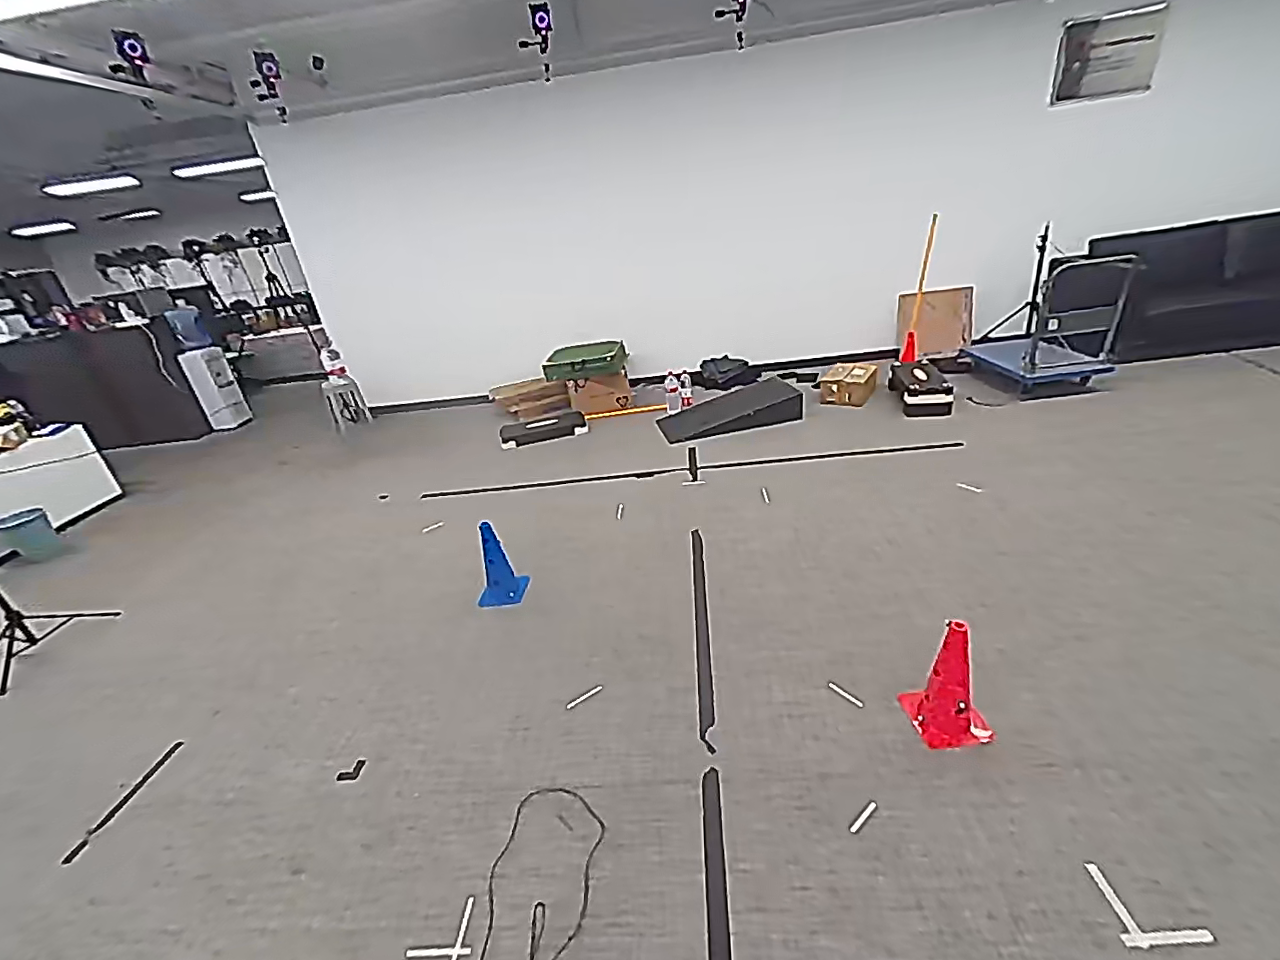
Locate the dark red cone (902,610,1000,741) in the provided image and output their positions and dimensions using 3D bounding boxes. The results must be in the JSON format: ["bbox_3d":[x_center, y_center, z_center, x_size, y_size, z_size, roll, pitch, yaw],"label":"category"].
[{"bbox_3d":[0.879,0.523,1.509,0.201,0.394,0.202,-10,26,0],"label":"dark red cone"}]

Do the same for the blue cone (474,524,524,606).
[{"bbox_3d":[-0.650,0.356,2.366,0.192,0.380,0.193,-6,26,7],"label":"blue cone"}]
